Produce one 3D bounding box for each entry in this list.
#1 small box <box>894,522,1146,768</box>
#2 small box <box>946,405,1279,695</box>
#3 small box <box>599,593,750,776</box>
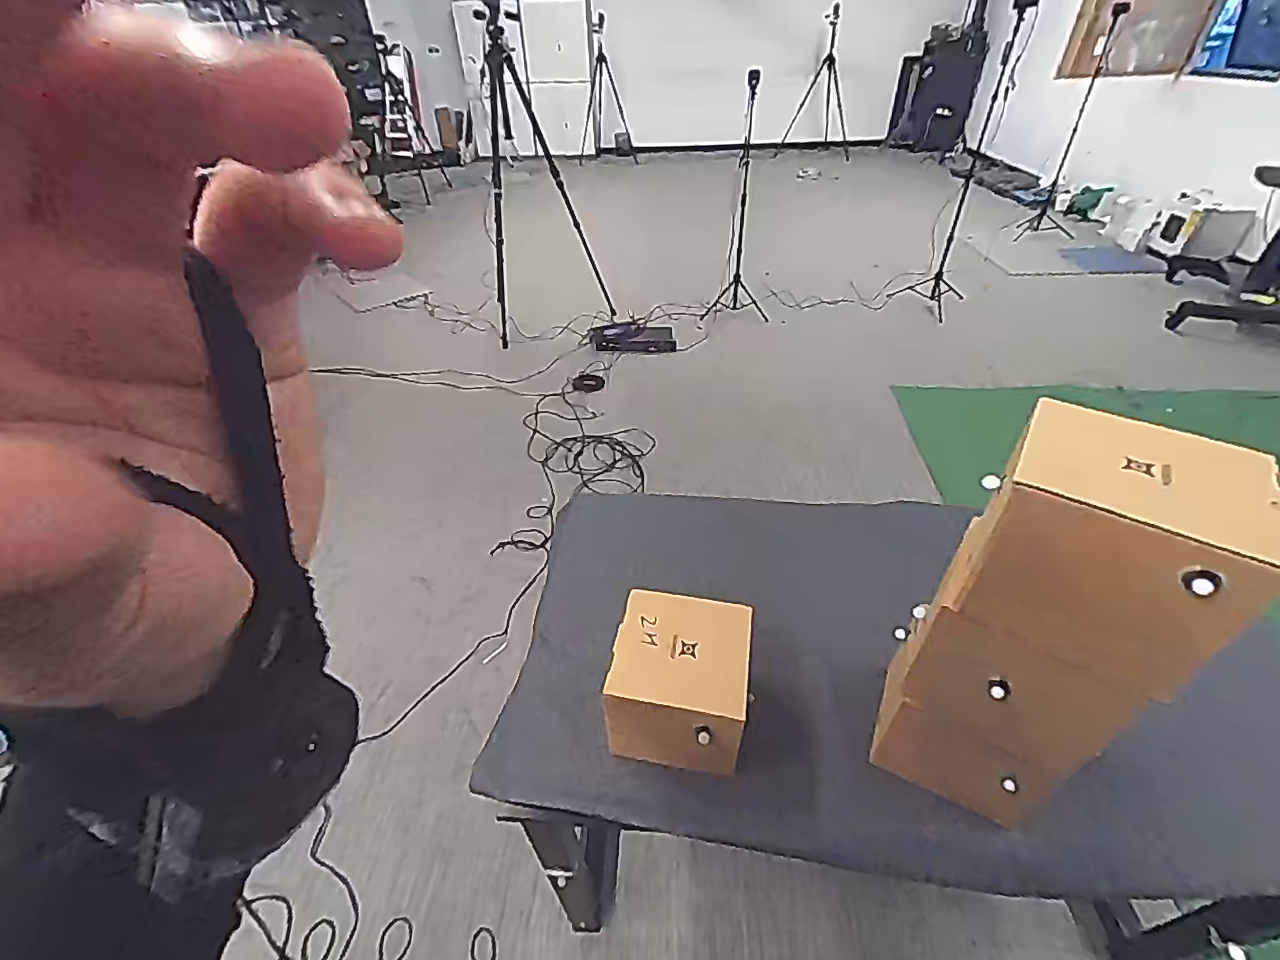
[{"bbox_3d":[0.413,0.184,0.601,0.179,0.176,0.168,24,45,29],"label":"small box"},{"bbox_3d":[0.412,0.059,0.496,0.179,0.176,0.168,24,45,28],"label":"small box"},{"bbox_3d":[0.053,0.285,0.752,0.179,0.176,0.168,6,41,10],"label":"small box"}]
